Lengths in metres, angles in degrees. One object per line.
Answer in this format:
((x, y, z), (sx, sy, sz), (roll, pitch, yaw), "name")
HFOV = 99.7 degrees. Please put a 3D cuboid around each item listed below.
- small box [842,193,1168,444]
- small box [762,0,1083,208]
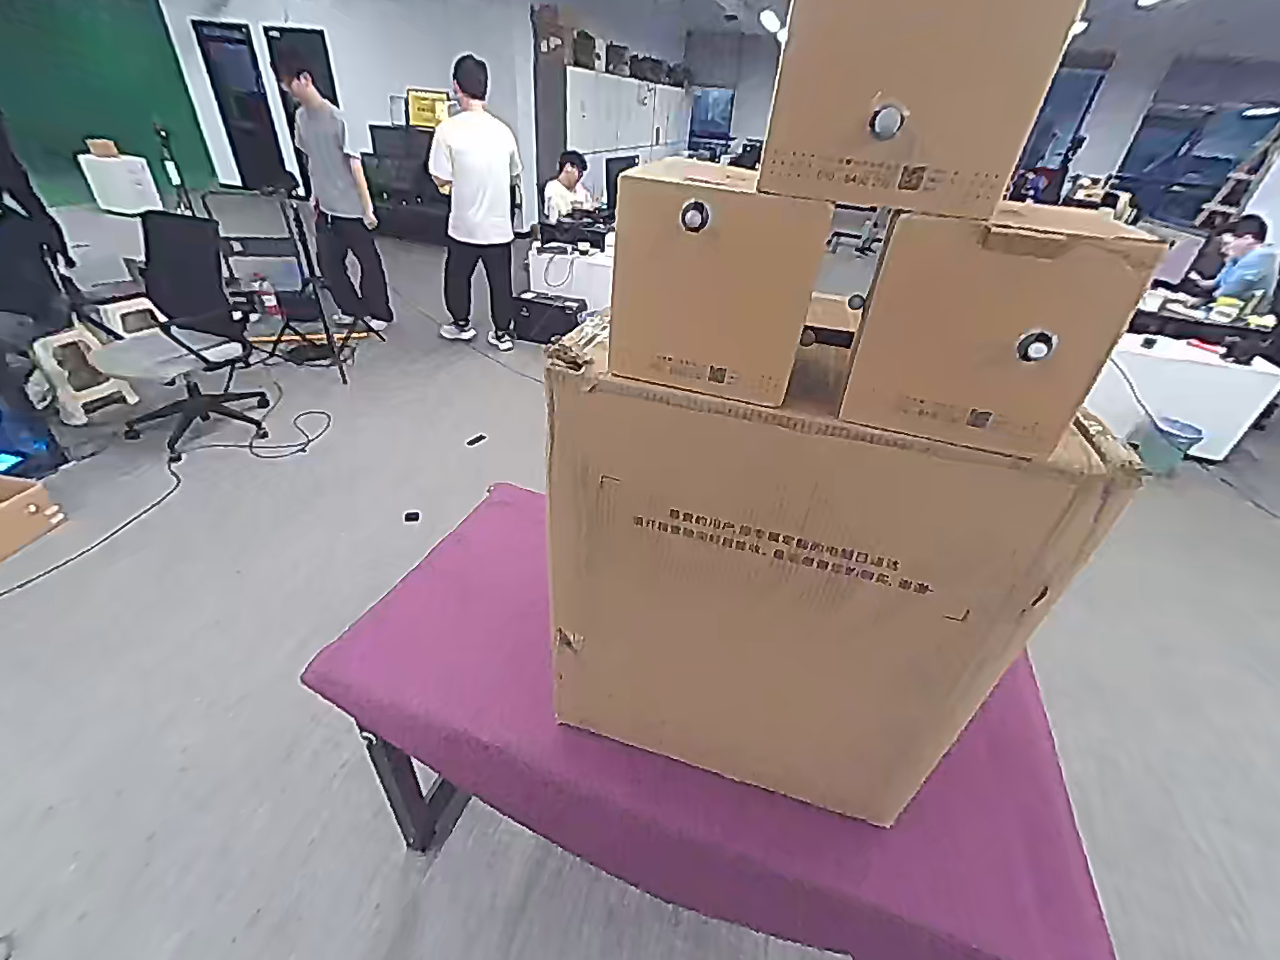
((0.283, -0.150, 0.470), (0.168, 0.176, 0.179), (15, 34, 15), "small box")
((0.192, -0.313, 0.405), (0.168, 0.176, 0.179), (11, 36, 8), "small box")
